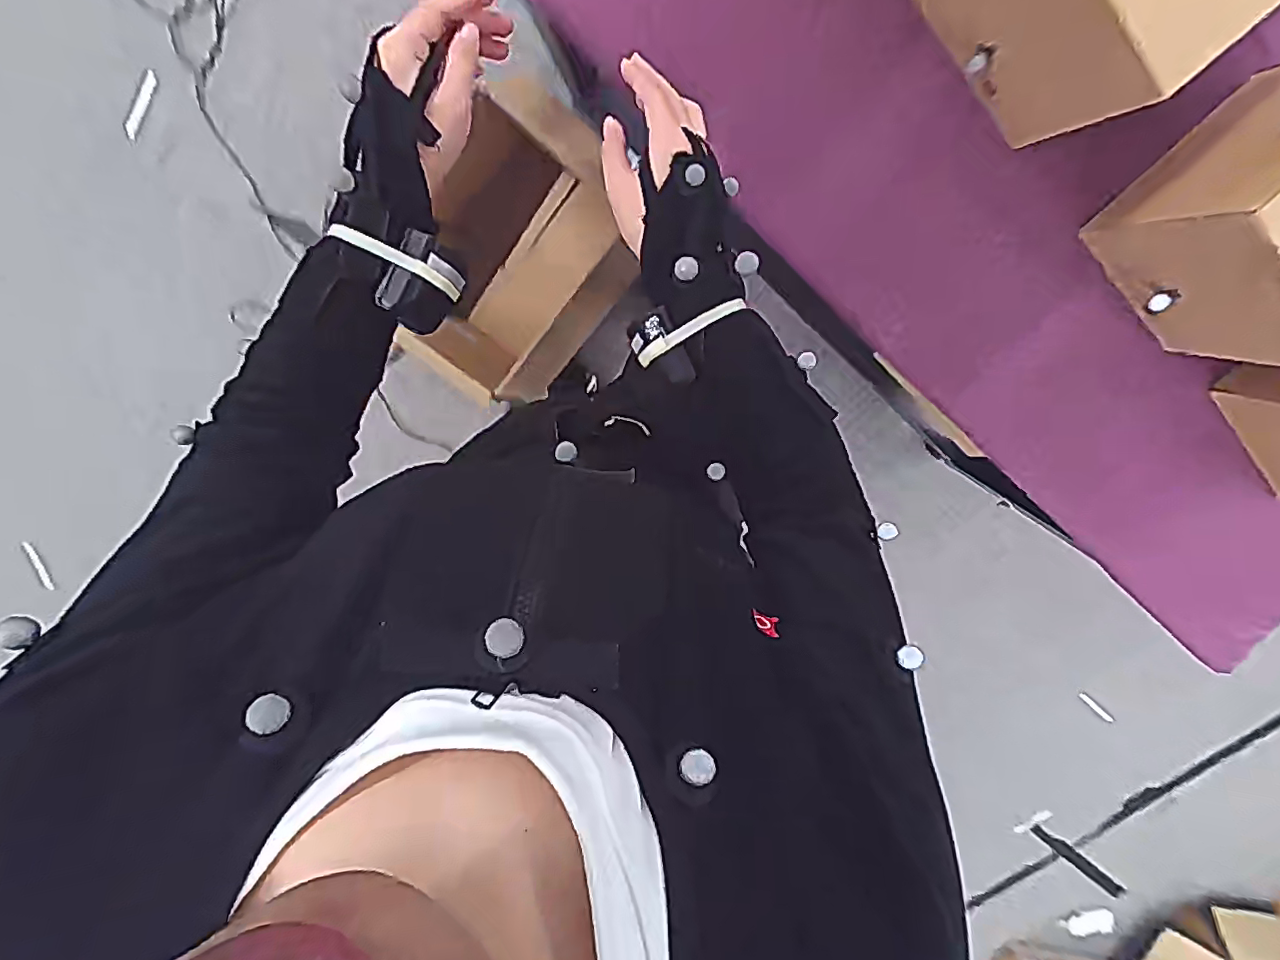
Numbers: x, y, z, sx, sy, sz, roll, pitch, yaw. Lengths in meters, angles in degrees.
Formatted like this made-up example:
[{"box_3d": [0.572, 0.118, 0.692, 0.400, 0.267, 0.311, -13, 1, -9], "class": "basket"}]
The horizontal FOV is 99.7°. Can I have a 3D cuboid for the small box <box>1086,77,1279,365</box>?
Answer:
[{"box_3d": [0.538, -0.218, 0.443, 0.168, 0.176, 0.179, 42, 106, -13], "class": "small box"}]

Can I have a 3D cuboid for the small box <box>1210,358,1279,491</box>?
[{"box_3d": [0.714, -0.063, 0.499, 0.168, 0.176, 0.179, -42, 104, 14], "class": "small box"}]
